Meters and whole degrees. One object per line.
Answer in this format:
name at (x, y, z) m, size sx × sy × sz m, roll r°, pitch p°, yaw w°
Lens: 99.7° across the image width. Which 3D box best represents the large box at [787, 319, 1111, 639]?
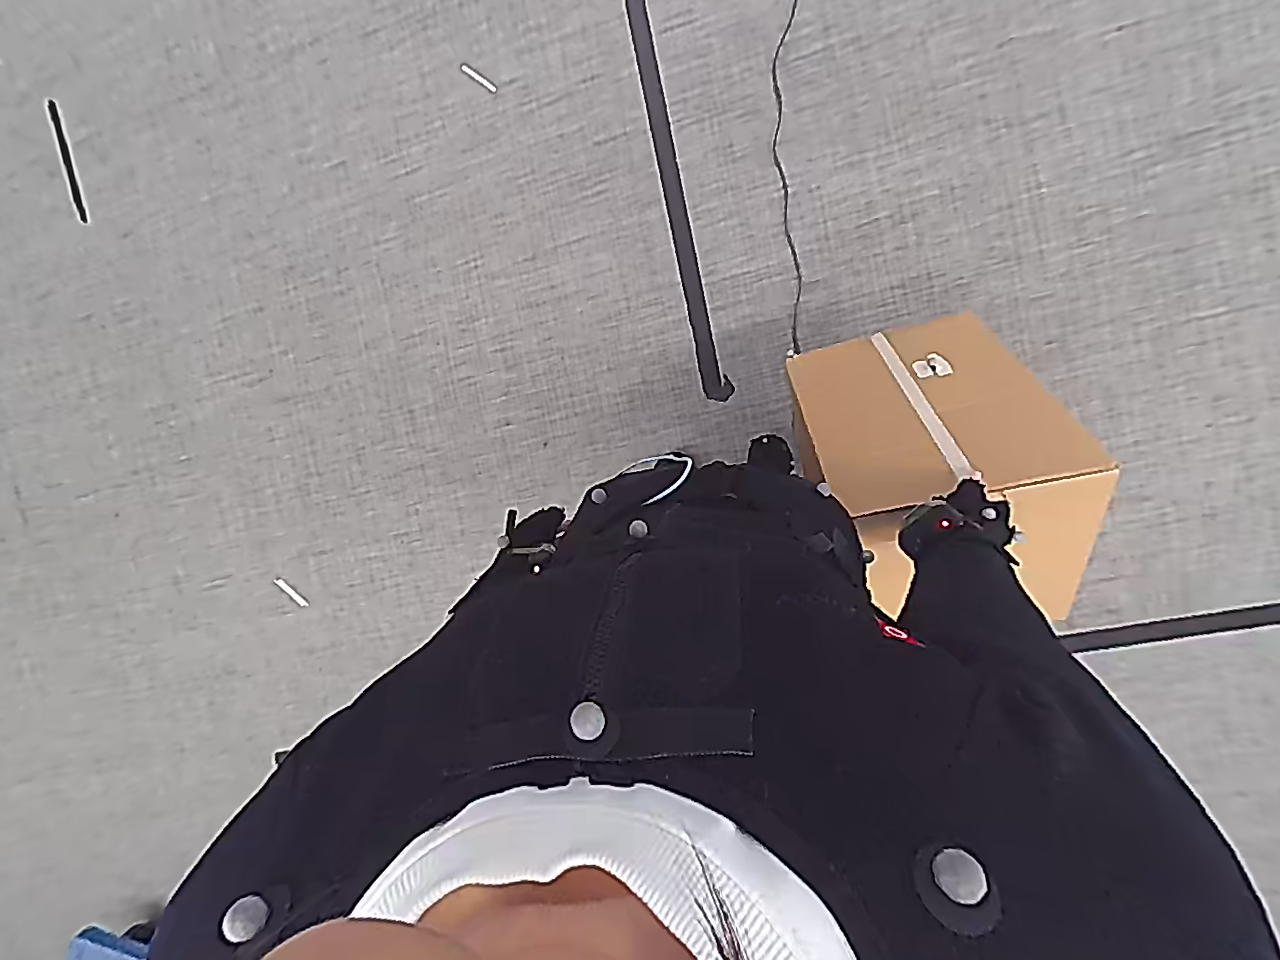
large box at (0.458, -0.007, 0.903) m, size 0.320 × 0.408 × 0.320 m, roll -12°, pitch 130°, yaw 12°
